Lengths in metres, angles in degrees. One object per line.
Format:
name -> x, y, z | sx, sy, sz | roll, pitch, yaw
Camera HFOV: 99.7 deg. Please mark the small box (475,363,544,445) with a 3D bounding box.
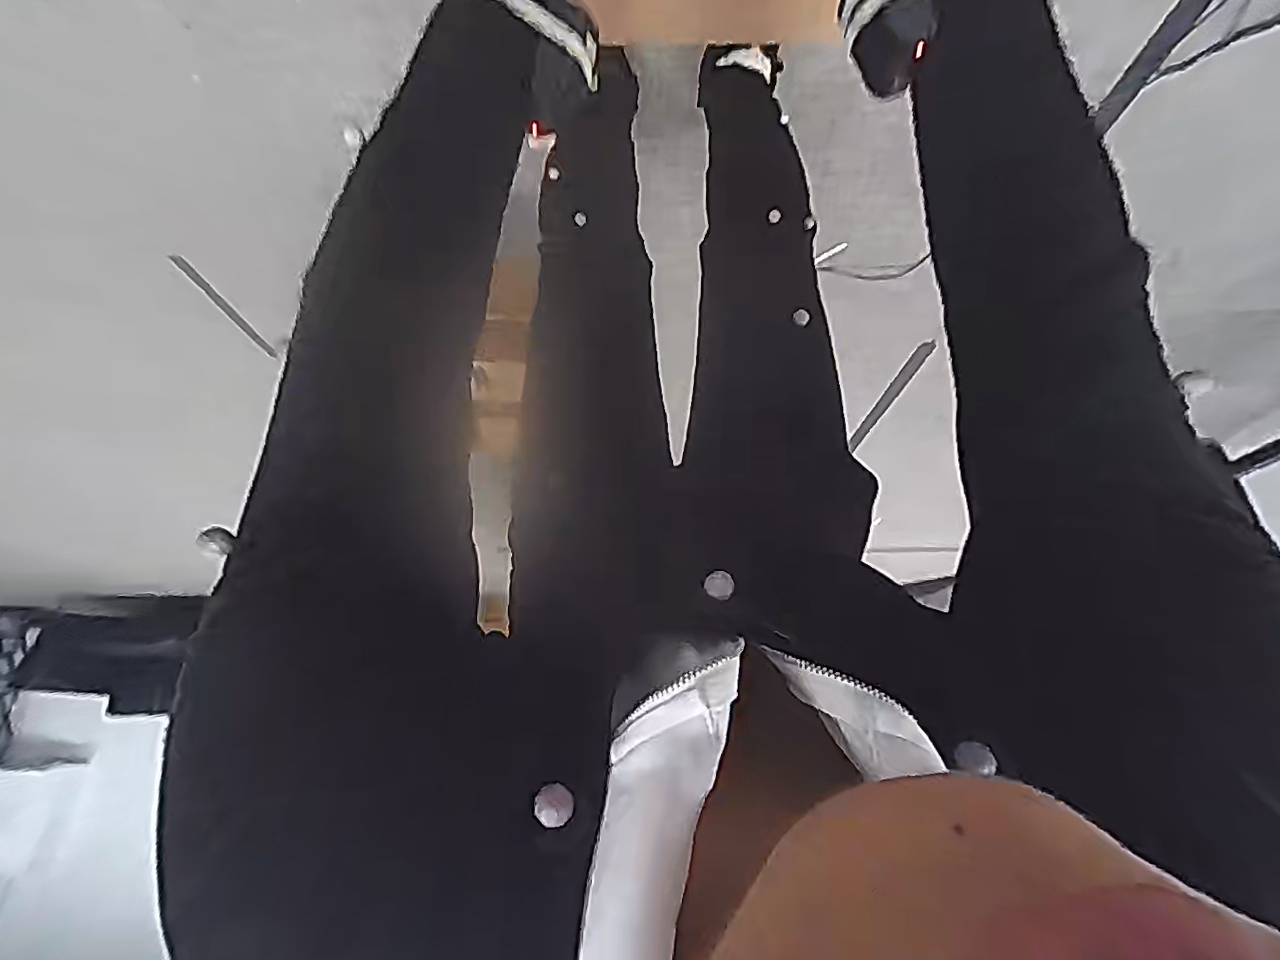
small box -> -0.368, -0.216, 1.558 | 0.168, 0.176, 0.179 | -1, 154, -5
